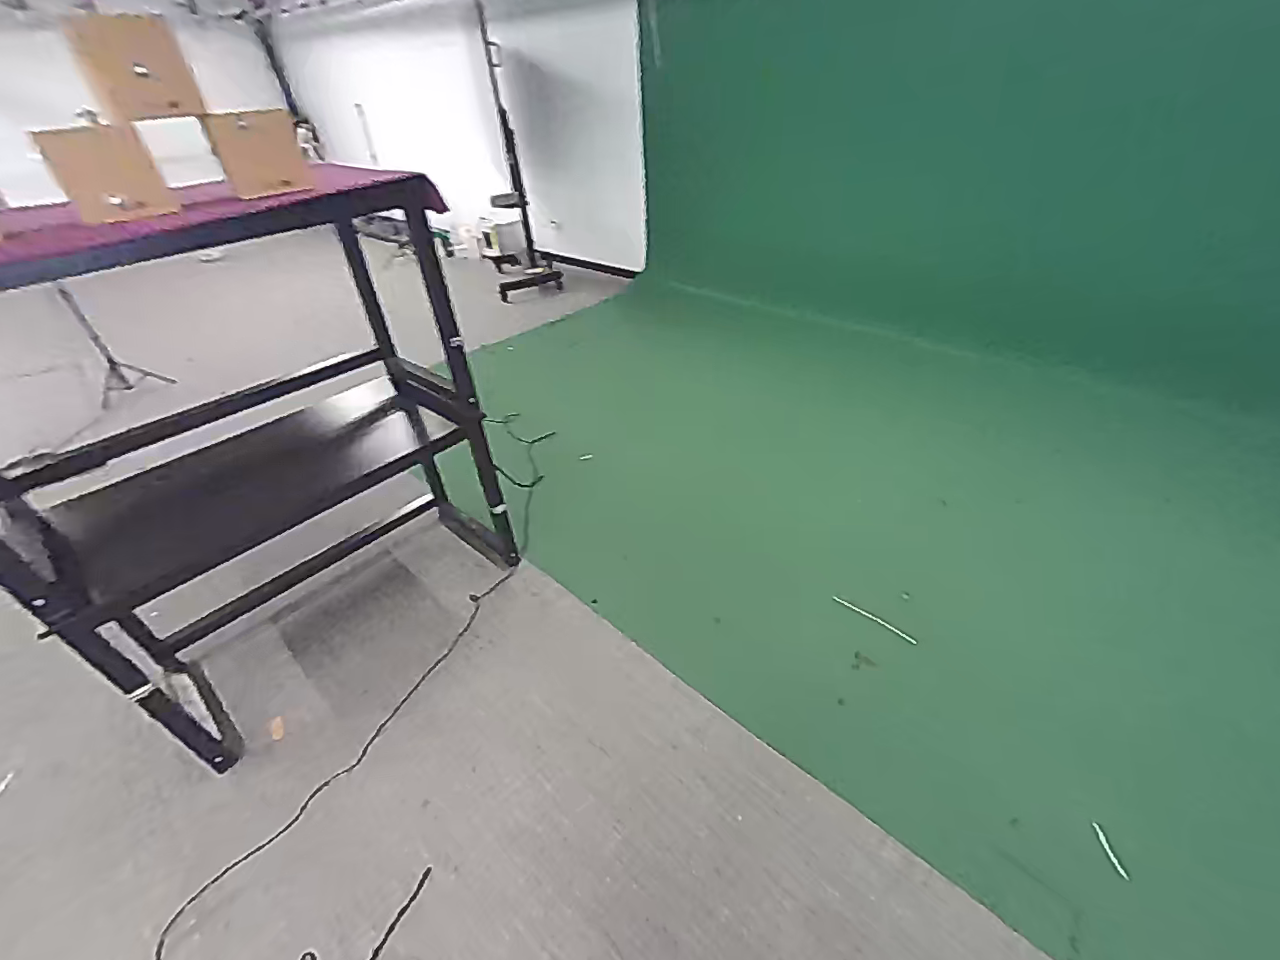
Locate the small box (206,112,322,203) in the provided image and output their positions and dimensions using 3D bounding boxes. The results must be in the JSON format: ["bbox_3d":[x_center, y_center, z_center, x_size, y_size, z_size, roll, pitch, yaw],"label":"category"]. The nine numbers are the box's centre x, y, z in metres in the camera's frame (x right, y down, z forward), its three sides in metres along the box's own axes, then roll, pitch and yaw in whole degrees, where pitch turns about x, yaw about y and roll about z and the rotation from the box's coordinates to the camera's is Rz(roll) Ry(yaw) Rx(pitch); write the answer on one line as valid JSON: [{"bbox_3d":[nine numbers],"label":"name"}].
[{"bbox_3d":[-0.903,-0.776,1.302,0.168,0.176,0.179,-29,42,-28],"label":"small box"}]

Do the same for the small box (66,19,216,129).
[{"bbox_3d":[-1.026,-0.837,1.122,0.168,0.176,0.179,-33,44,-32],"label":"small box"}]

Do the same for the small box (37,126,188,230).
[{"bbox_3d":[-1.105,-0.637,1.140,0.168,0.176,0.179,-34,46,-32],"label":"small box"}]
